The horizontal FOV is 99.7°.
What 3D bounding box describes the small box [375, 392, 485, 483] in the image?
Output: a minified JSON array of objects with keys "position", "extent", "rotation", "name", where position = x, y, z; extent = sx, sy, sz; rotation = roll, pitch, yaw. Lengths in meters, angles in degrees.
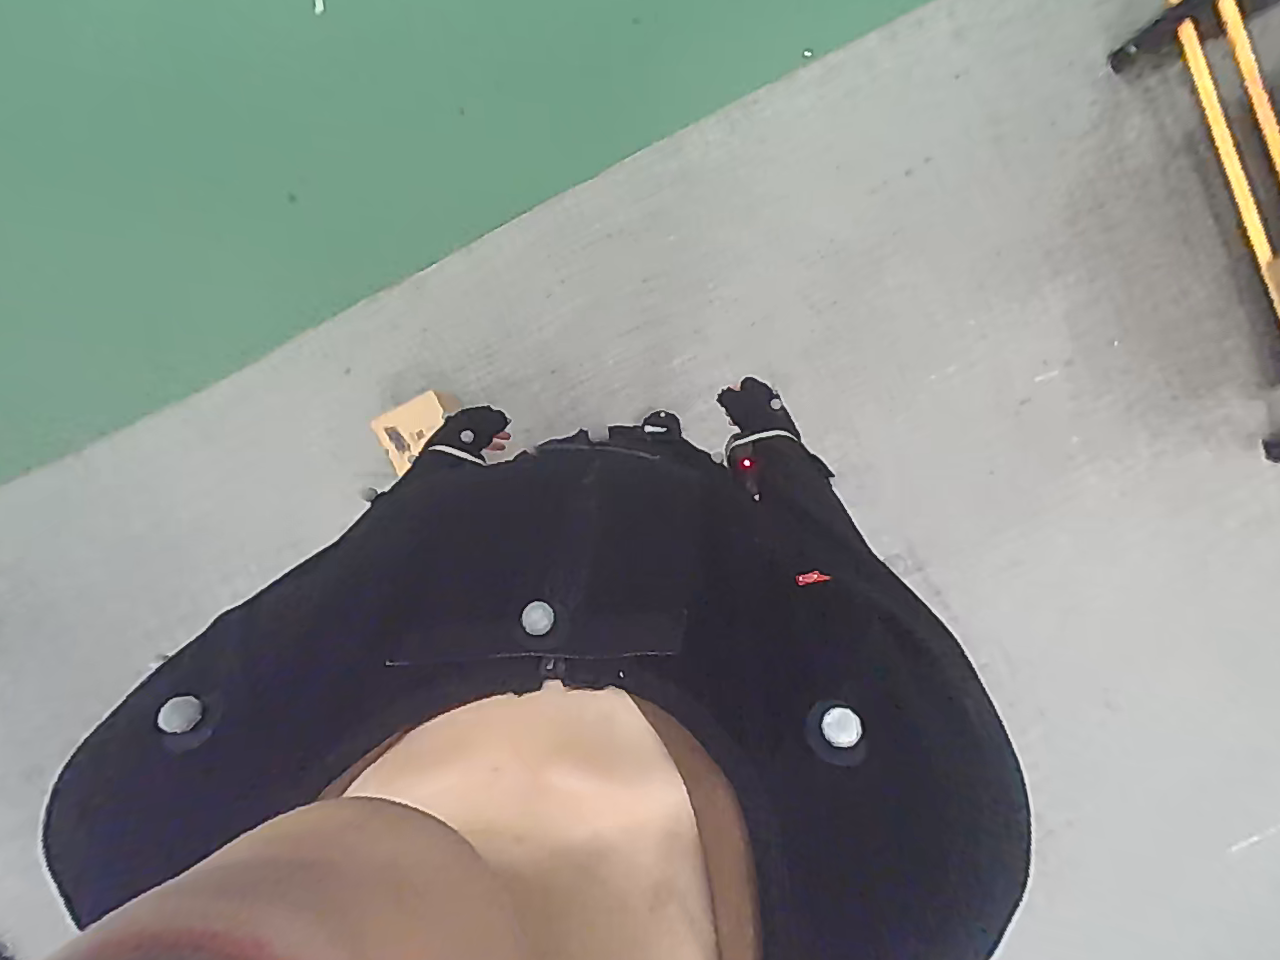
[{"position":[-0.527,-0.107,1.381],"extent":[0.179,0.176,0.168],"rotation":[-27,95,2],"name":"small box"}]
